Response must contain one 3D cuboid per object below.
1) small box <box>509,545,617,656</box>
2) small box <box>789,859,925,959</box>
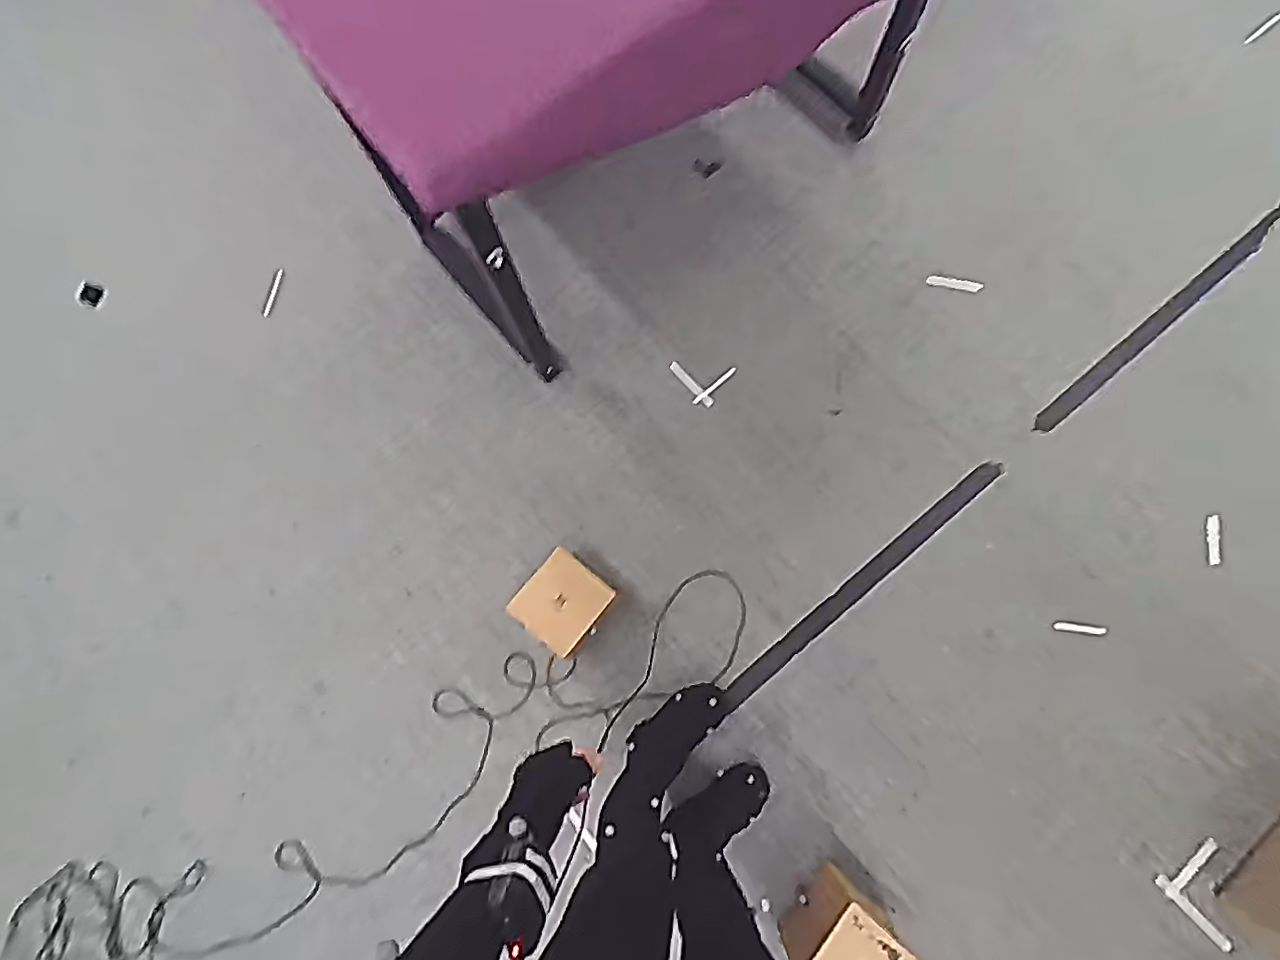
[{"bbox_3d":[-0.162,0.271,1.219,0.168,0.176,0.179,38,79,8],"label":"small box"},{"bbox_3d":[0.413,0.903,1.056,0.168,0.176,0.179,40,83,10],"label":"small box"}]
